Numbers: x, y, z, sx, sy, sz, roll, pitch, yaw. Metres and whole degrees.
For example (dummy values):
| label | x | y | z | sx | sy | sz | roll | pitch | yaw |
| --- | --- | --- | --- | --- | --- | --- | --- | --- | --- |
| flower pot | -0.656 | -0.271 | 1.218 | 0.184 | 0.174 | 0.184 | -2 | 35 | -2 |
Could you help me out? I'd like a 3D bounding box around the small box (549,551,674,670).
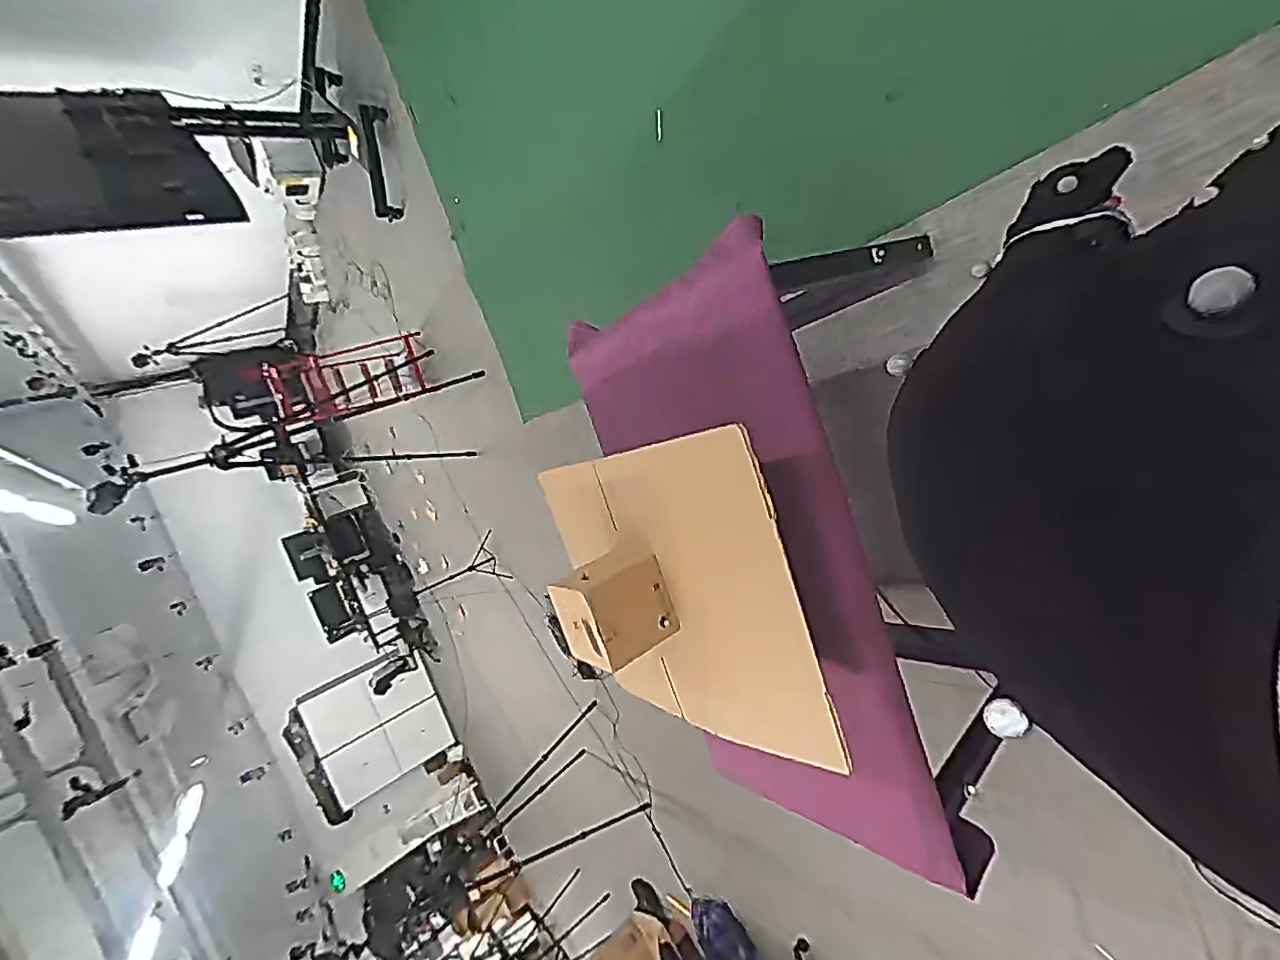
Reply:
| label | x | y | z | sx | sy | sz | roll | pitch | yaw |
| --- | --- | --- | --- | --- | --- | --- | --- | --- | --- |
| small box | -0.052 | 0.251 | 1.086 | 0.179 | 0.176 | 0.168 | -9 | 102 | 57 |
